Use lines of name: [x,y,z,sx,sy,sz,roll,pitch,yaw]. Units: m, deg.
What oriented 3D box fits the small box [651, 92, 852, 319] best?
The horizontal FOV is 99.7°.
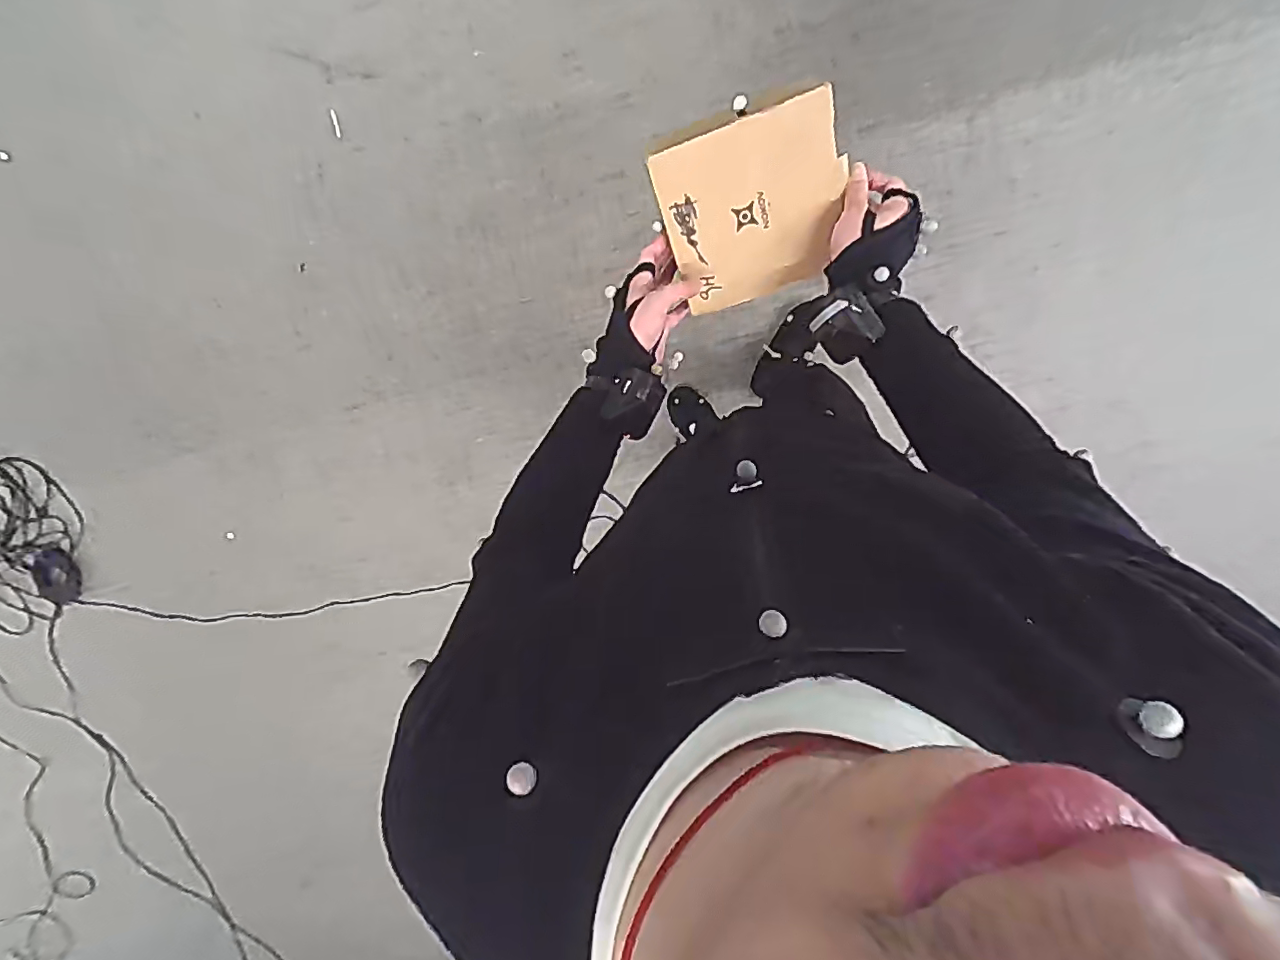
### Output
small box: [0.118,-0.313,0.610,0.179,0.176,0.168,-16,125,11]
